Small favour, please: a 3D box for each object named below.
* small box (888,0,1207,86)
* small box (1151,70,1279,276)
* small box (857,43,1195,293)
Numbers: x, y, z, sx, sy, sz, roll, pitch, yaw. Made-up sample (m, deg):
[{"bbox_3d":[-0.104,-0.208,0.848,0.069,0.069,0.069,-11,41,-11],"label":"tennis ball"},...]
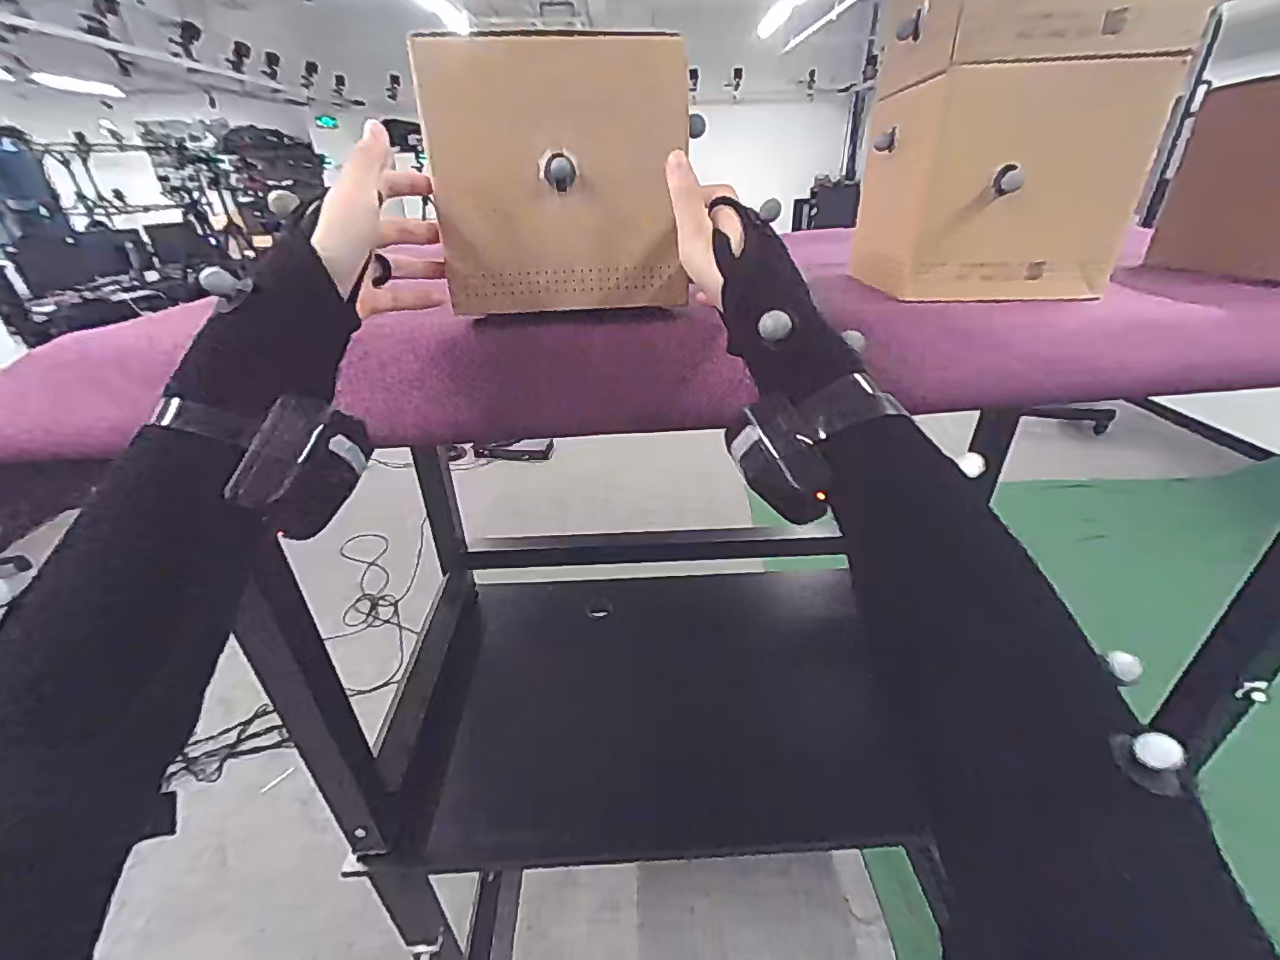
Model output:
[{"bbox_3d":[0.313,-0.413,0.414,0.168,0.176,0.179,1,29,4],"label":"small box"},{"bbox_3d":[0.656,-0.286,0.505,0.168,0.176,0.179,-3,28,-3],"label":"small box"},{"bbox_3d":[0.314,-0.268,0.491,0.168,0.176,0.179,1,28,4],"label":"small box"}]
